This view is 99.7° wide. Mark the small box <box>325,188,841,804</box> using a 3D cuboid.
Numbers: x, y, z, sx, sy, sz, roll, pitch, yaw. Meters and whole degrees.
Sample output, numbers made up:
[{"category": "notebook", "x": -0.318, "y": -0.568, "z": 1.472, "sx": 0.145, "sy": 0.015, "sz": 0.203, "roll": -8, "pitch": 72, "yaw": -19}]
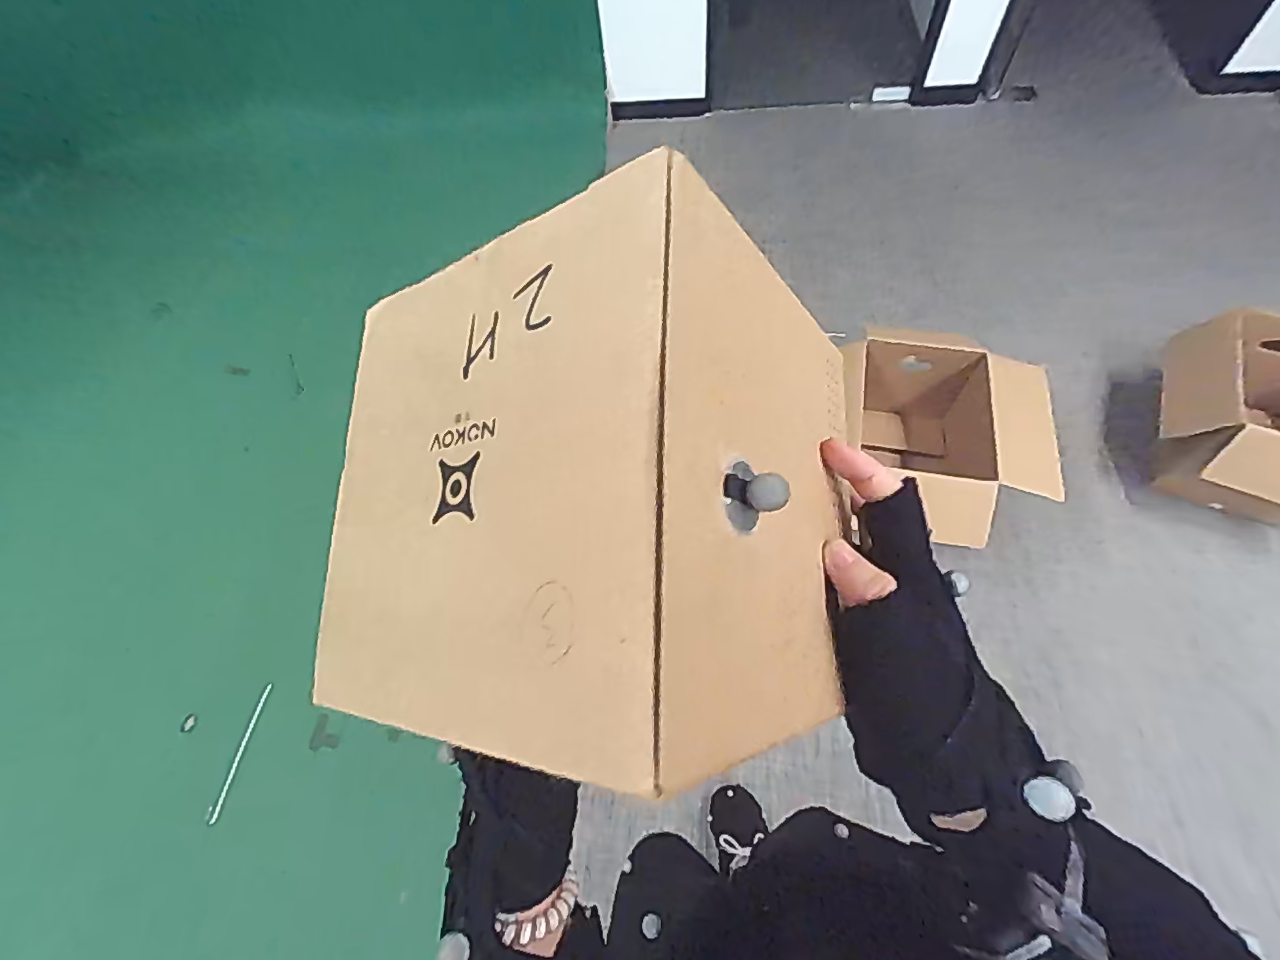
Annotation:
[{"category": "small box", "x": -0.013, "y": 0.017, "z": 0.255, "sx": 0.168, "sy": 0.176, "sz": 0.179, "roll": -8, "pitch": 73, "yaw": 35}]
